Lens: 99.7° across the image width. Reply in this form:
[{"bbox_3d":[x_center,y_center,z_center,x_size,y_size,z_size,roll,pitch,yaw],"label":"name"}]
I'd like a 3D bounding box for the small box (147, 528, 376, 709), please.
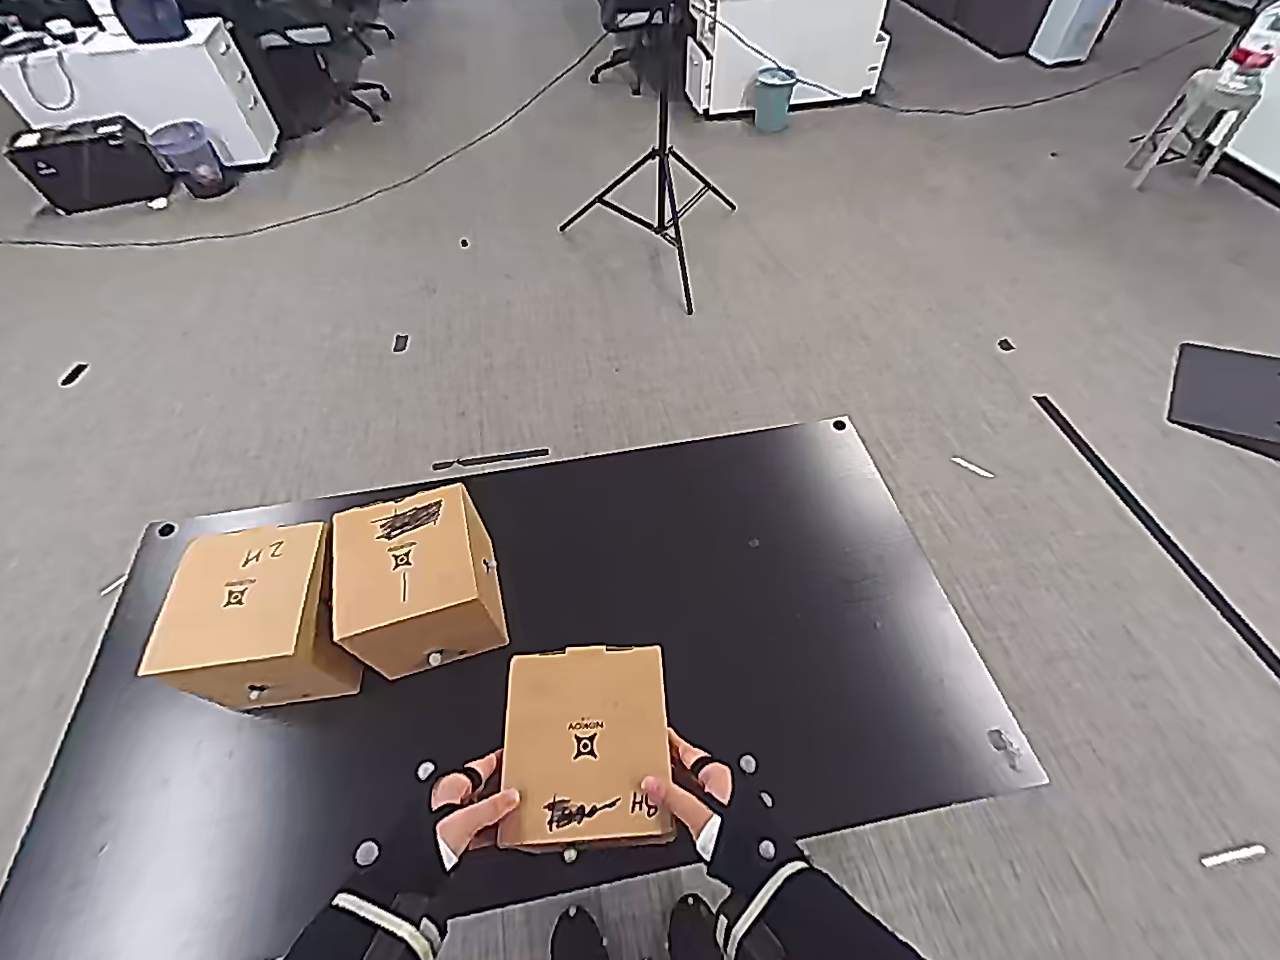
[{"bbox_3d":[-0.469,0.187,0.707,0.168,0.176,0.179,-7,54,-4],"label":"small box"}]

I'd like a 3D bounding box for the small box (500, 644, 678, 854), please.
[{"bbox_3d":[-0.049,0.303,0.606,0.168,0.176,0.179,-5,53,0],"label":"small box"}]
